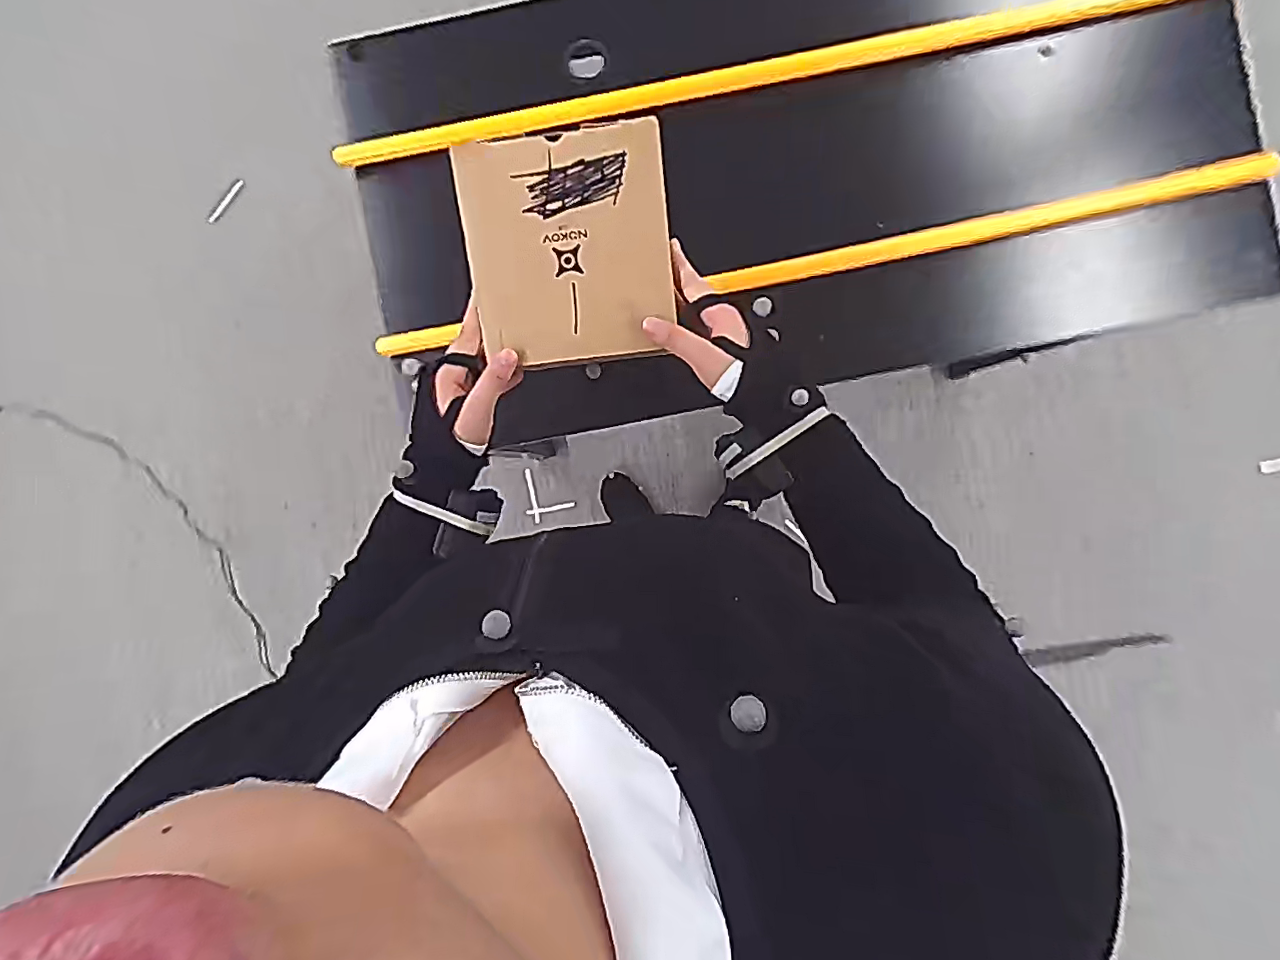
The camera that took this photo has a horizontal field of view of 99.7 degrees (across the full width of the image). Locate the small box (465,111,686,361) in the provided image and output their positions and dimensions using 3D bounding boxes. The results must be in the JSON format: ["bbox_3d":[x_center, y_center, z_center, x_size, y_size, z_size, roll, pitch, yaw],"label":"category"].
[{"bbox_3d":[-0.048,-0.210,0.515,0.168,0.176,0.179,-5,102,4],"label":"small box"}]
